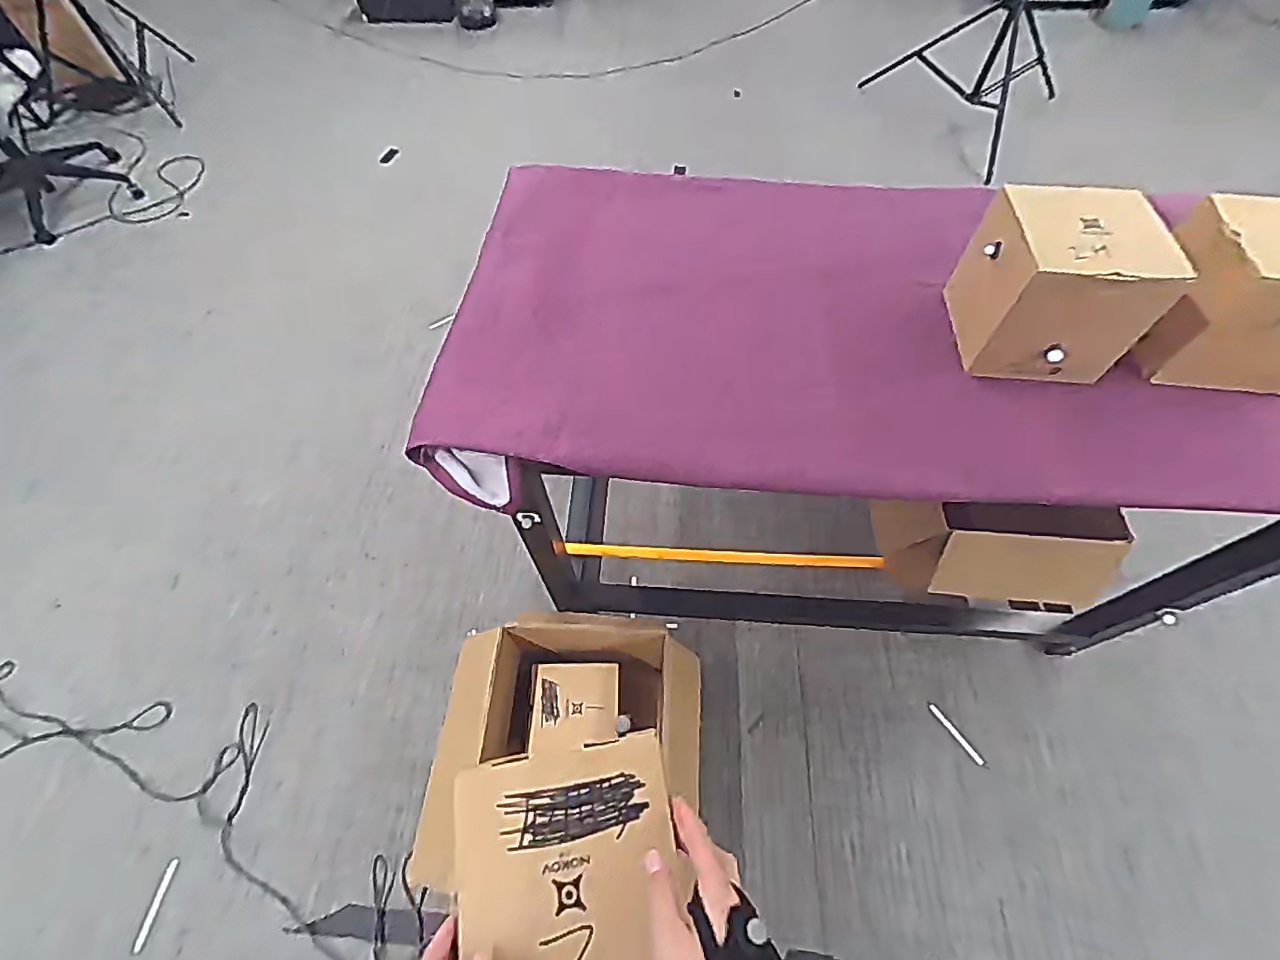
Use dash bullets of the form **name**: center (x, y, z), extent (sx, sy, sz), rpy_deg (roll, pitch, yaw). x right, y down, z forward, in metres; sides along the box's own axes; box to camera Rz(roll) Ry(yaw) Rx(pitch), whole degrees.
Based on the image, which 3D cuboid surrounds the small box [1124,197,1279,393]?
- **small box**: center (0.768, -0.230, 0.691), extent (0.179, 0.176, 0.168), rpy_deg (7, 57, 6)

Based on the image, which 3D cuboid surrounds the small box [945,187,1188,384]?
- **small box**: center (0.528, -0.251, 0.707), extent (0.168, 0.176, 0.179), rpy_deg (5, 58, 5)
